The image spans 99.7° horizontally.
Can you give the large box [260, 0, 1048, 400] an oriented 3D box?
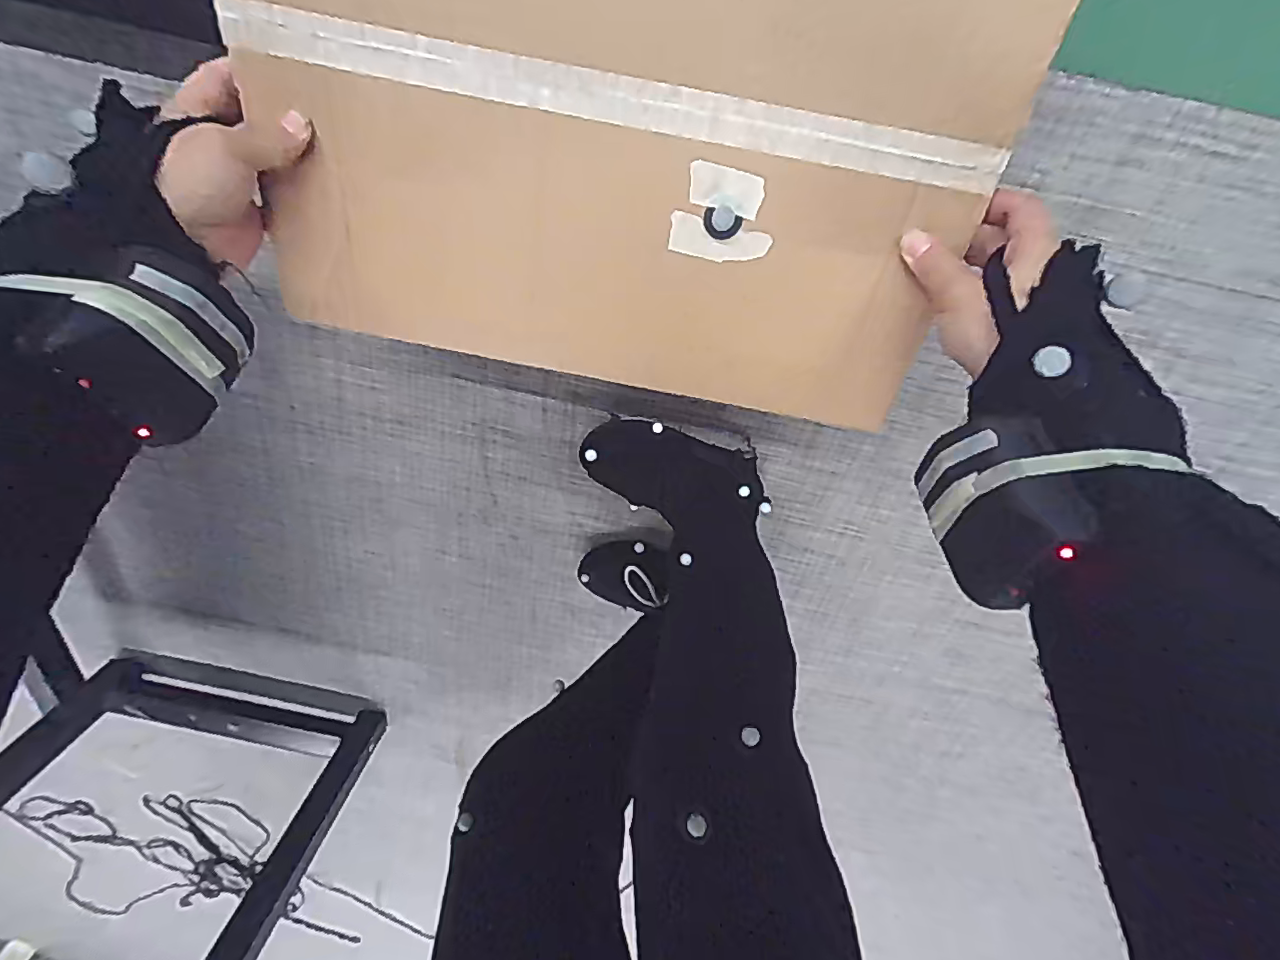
[{"bbox_3d":[0.002,-0.290,0.419,0.408,0.320,0.320,9,124,-1],"label":"large box"}]
